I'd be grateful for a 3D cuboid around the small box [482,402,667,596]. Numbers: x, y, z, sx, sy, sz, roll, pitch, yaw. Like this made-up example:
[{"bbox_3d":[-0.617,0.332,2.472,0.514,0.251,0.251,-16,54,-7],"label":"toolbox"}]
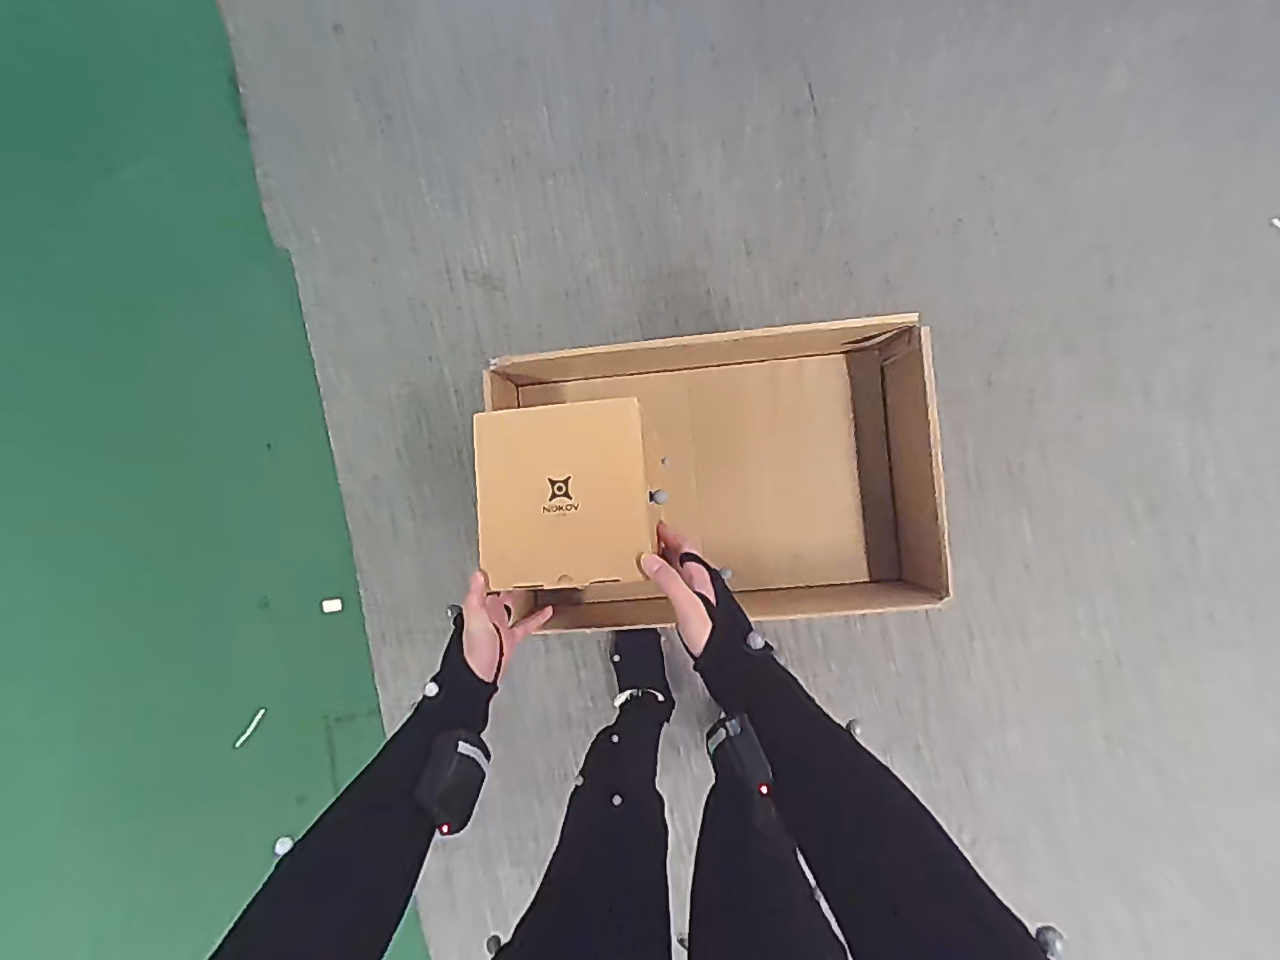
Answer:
[{"bbox_3d":[-0.059,0.024,0.585,0.168,0.176,0.179,-5,86,5],"label":"small box"}]
